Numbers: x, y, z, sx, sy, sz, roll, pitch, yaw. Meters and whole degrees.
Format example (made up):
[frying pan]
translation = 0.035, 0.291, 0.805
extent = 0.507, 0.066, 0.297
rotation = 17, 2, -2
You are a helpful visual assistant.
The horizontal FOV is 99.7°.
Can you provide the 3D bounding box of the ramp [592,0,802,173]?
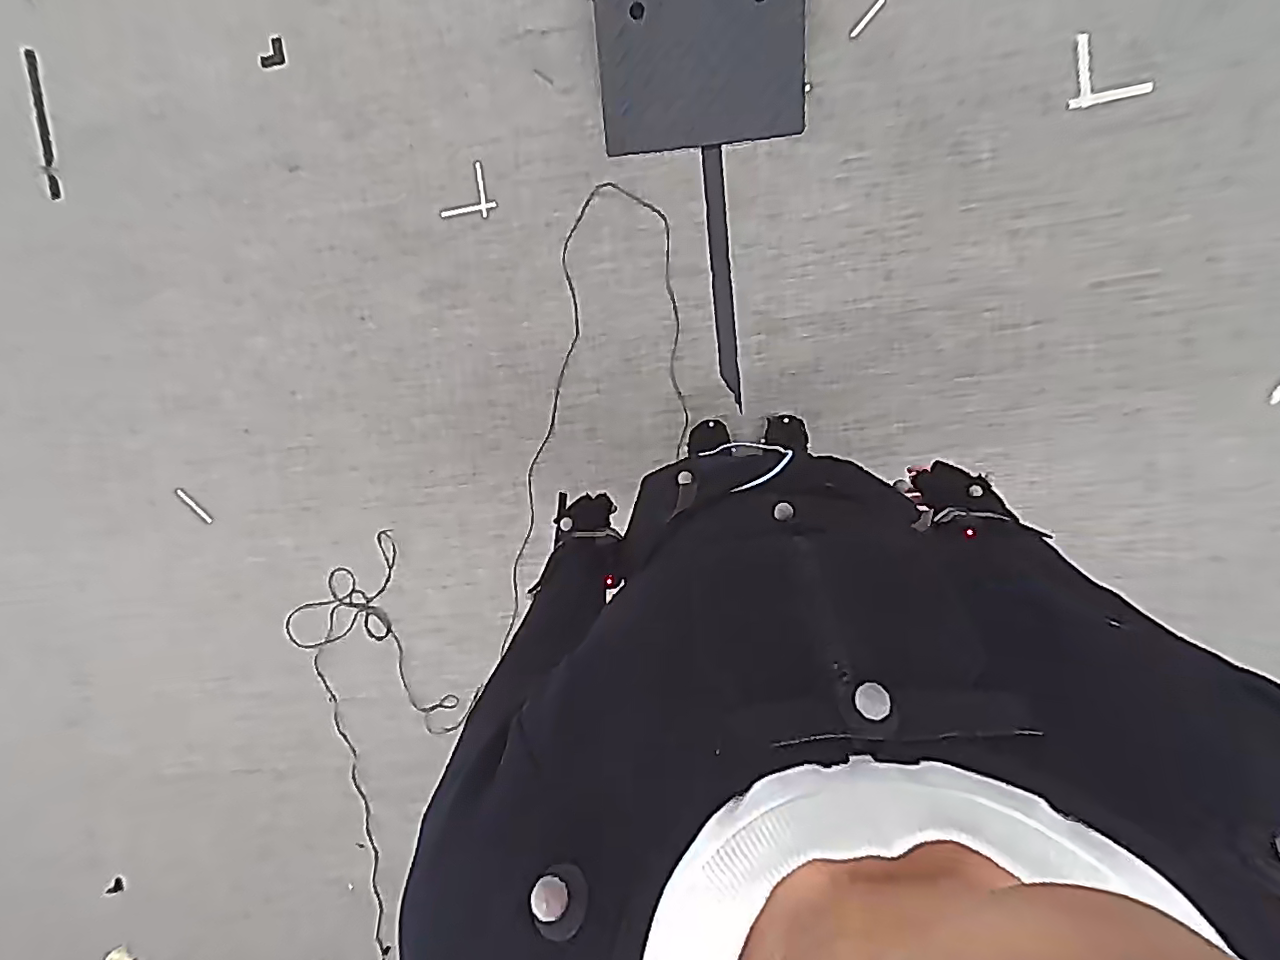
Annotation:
[ramp]
translation = 0.112, -1.295, 1.248
extent = 0.509, 0.206, 0.991
rotation = -6, 95, 6
